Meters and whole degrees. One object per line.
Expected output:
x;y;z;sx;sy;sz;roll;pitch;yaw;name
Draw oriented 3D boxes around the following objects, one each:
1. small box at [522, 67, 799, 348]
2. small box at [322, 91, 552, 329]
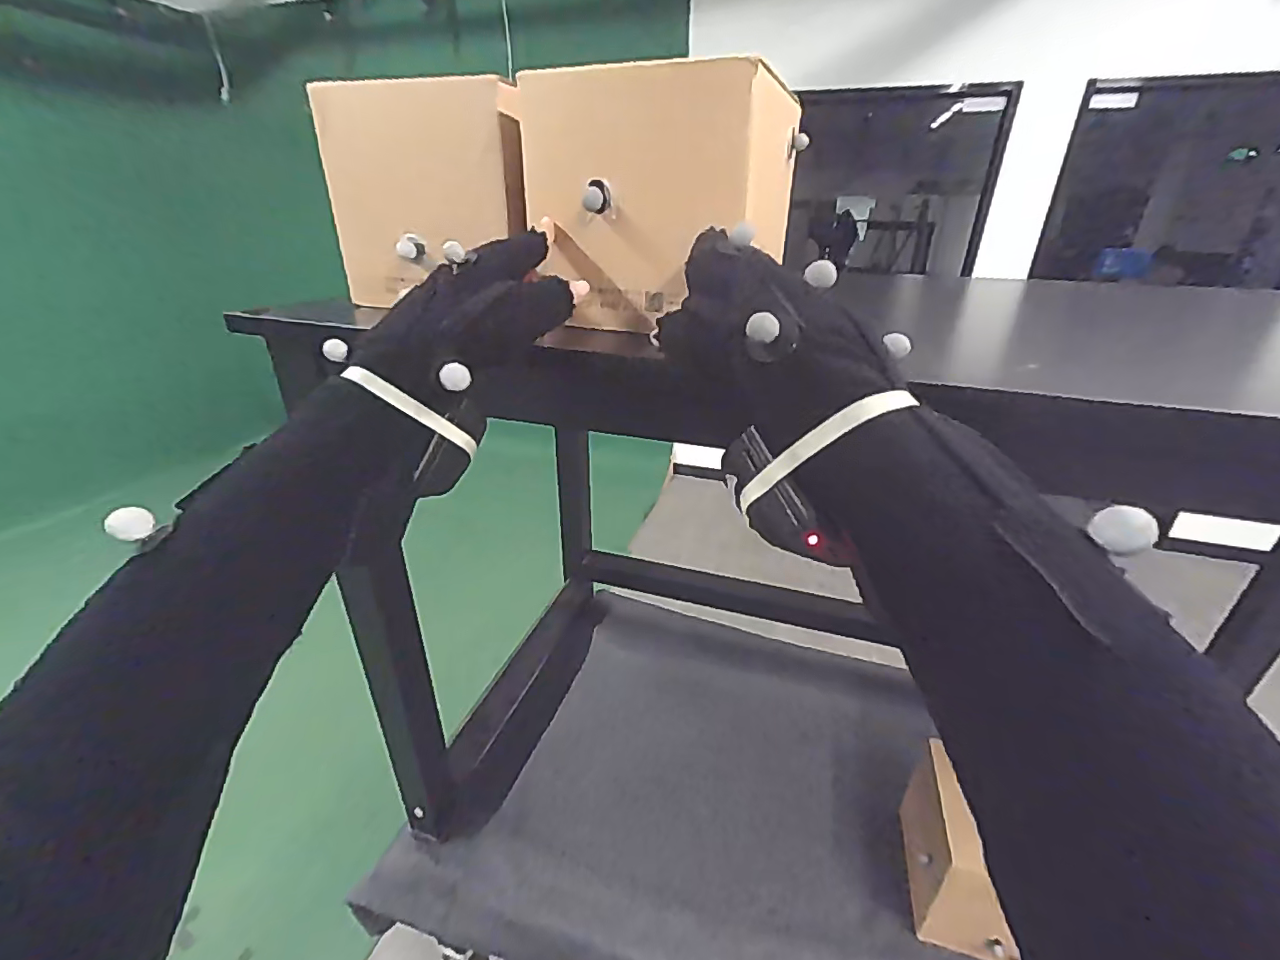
0.027;-0.211;0.445;0.168;0.176;0.179;11;28;20;small box
-0.151;-0.249;0.508;0.168;0.176;0.179;9;29;15;small box
